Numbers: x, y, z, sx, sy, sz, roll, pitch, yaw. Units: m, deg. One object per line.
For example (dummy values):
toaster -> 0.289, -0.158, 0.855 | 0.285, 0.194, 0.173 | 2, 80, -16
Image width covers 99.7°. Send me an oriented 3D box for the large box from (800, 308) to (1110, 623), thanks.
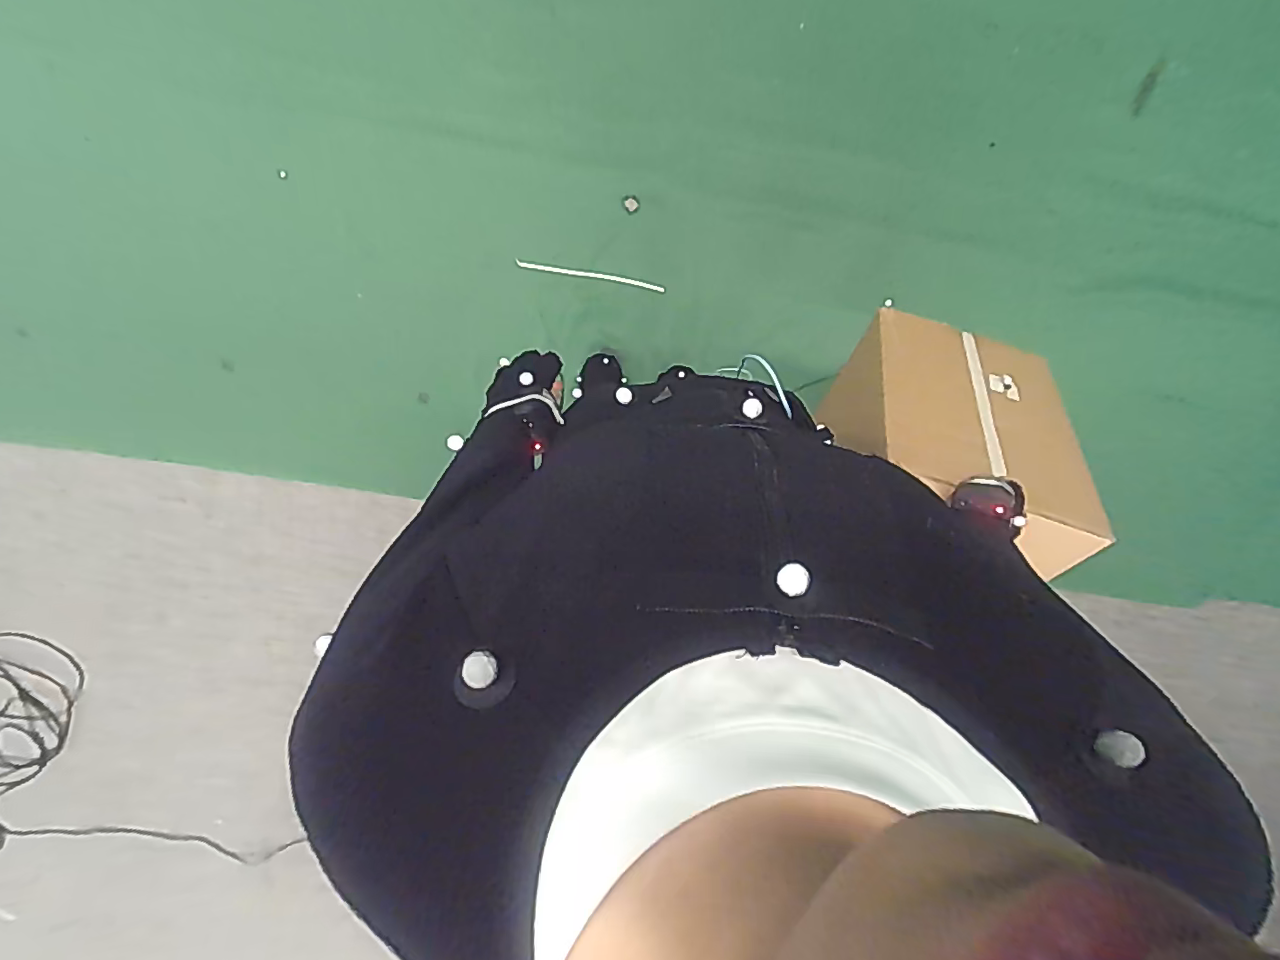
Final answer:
large box -> 0.493, -0.025, 0.949 | 0.320, 0.408, 0.320 | 19, 140, 0
